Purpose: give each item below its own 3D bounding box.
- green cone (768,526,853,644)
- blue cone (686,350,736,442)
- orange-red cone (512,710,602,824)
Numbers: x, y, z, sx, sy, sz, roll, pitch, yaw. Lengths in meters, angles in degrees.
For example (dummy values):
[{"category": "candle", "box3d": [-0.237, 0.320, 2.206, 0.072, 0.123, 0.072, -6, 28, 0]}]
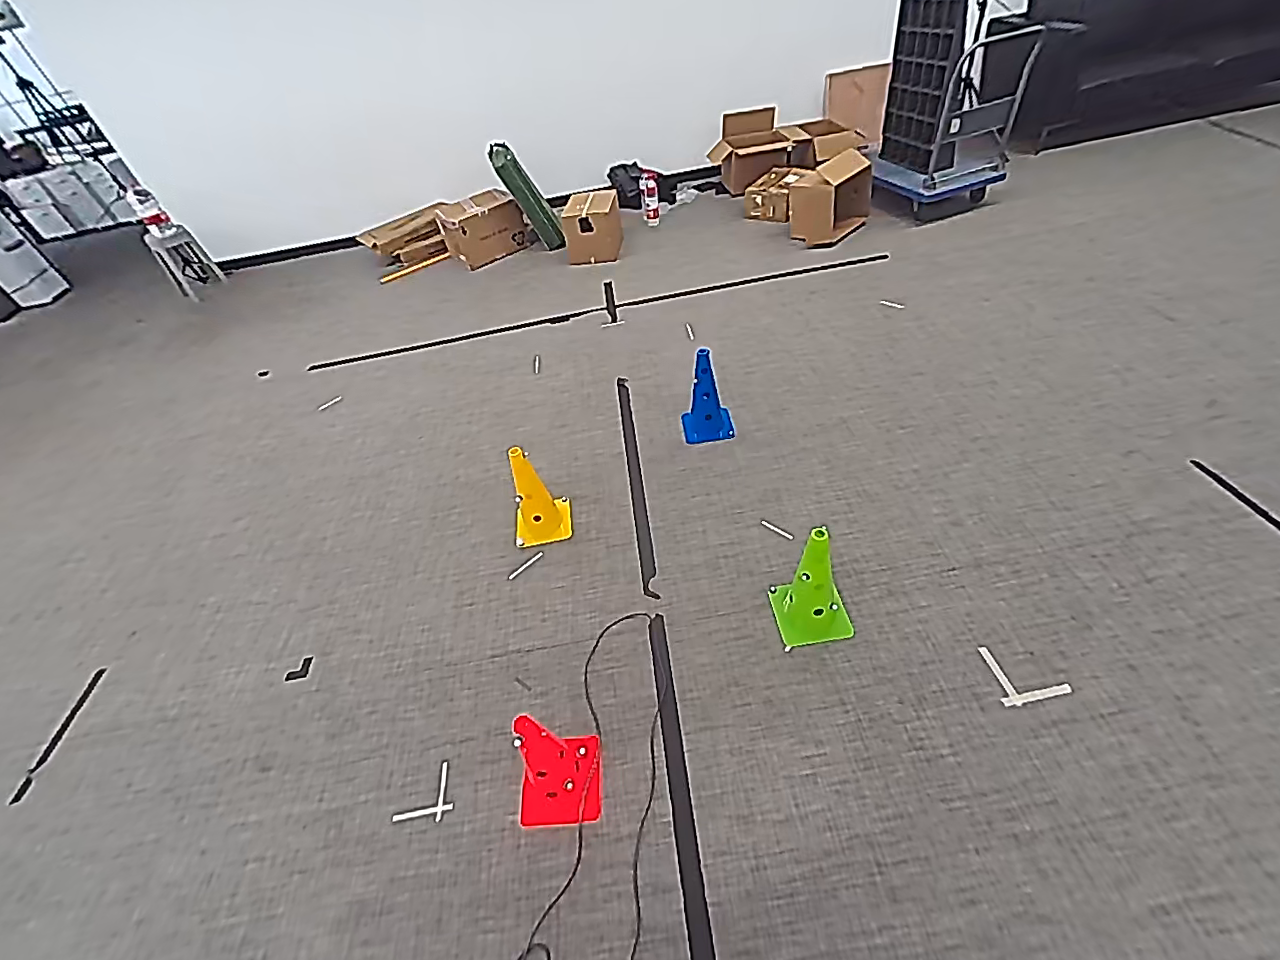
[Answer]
[{"category": "green cone", "box3d": [0.472, 0.259, 1.456, 0.202, 0.368, 0.200, -9, 44, 1]}, {"category": "blue cone", "box3d": [0.270, -0.339, 2.125, 0.192, 0.380, 0.193, -7, 44, 3]}, {"category": "orange-red cone", "box3d": [-0.223, 0.620, 1.232, 0.199, 0.360, 0.198, -8, 43, 5]}]
